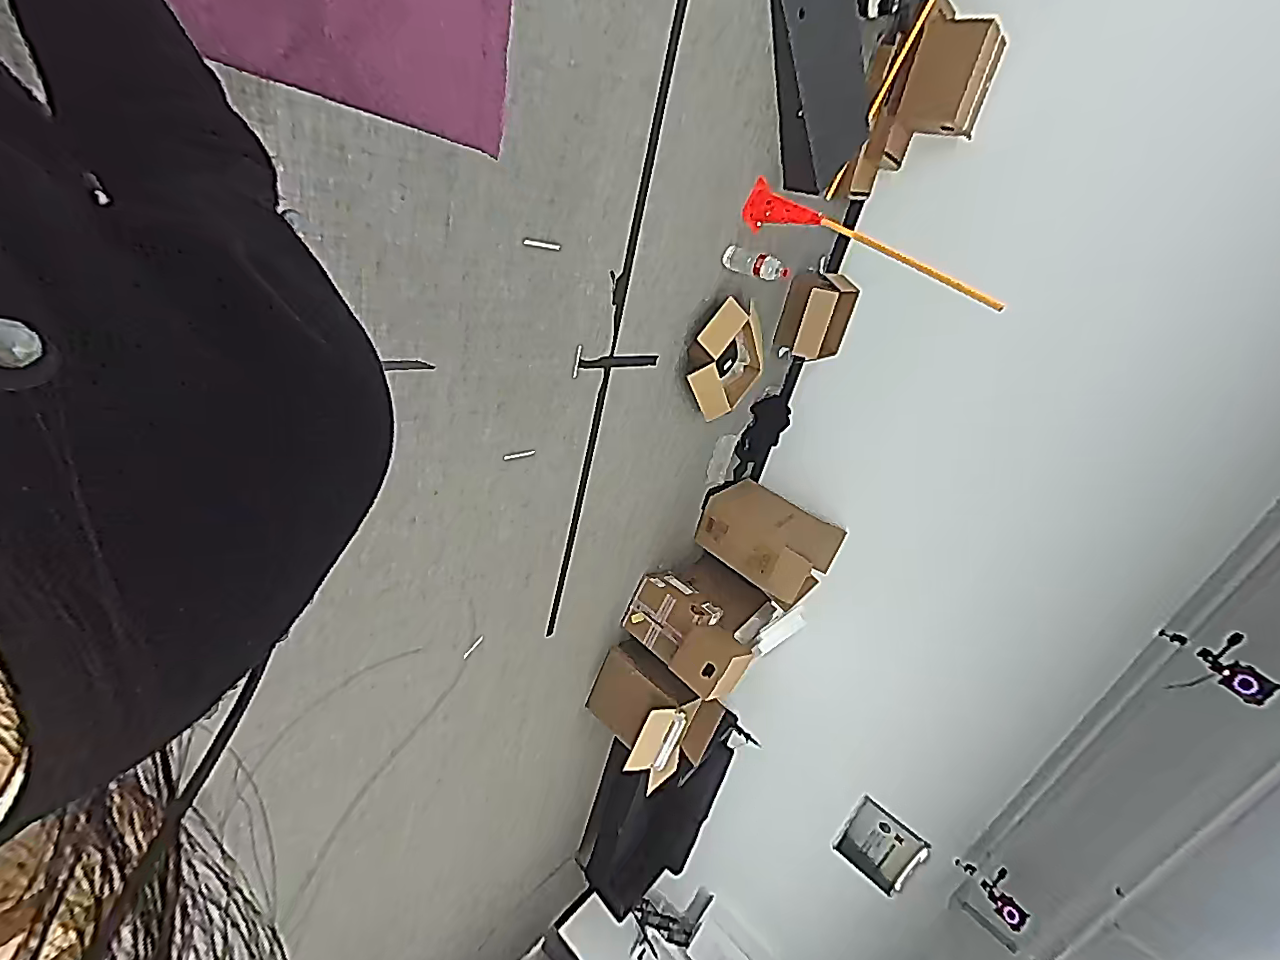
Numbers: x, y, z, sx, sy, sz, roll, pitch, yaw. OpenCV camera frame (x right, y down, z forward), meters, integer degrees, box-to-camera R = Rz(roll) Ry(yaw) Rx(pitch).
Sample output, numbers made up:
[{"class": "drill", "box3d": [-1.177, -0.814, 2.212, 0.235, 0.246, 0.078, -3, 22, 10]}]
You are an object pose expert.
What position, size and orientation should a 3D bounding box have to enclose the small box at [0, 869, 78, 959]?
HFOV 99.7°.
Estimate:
[{"class": "small box", "box3d": [-1.634, 1.176, 1.416, 0.168, 0.176, 0.179, -28, 137, -43]}]
